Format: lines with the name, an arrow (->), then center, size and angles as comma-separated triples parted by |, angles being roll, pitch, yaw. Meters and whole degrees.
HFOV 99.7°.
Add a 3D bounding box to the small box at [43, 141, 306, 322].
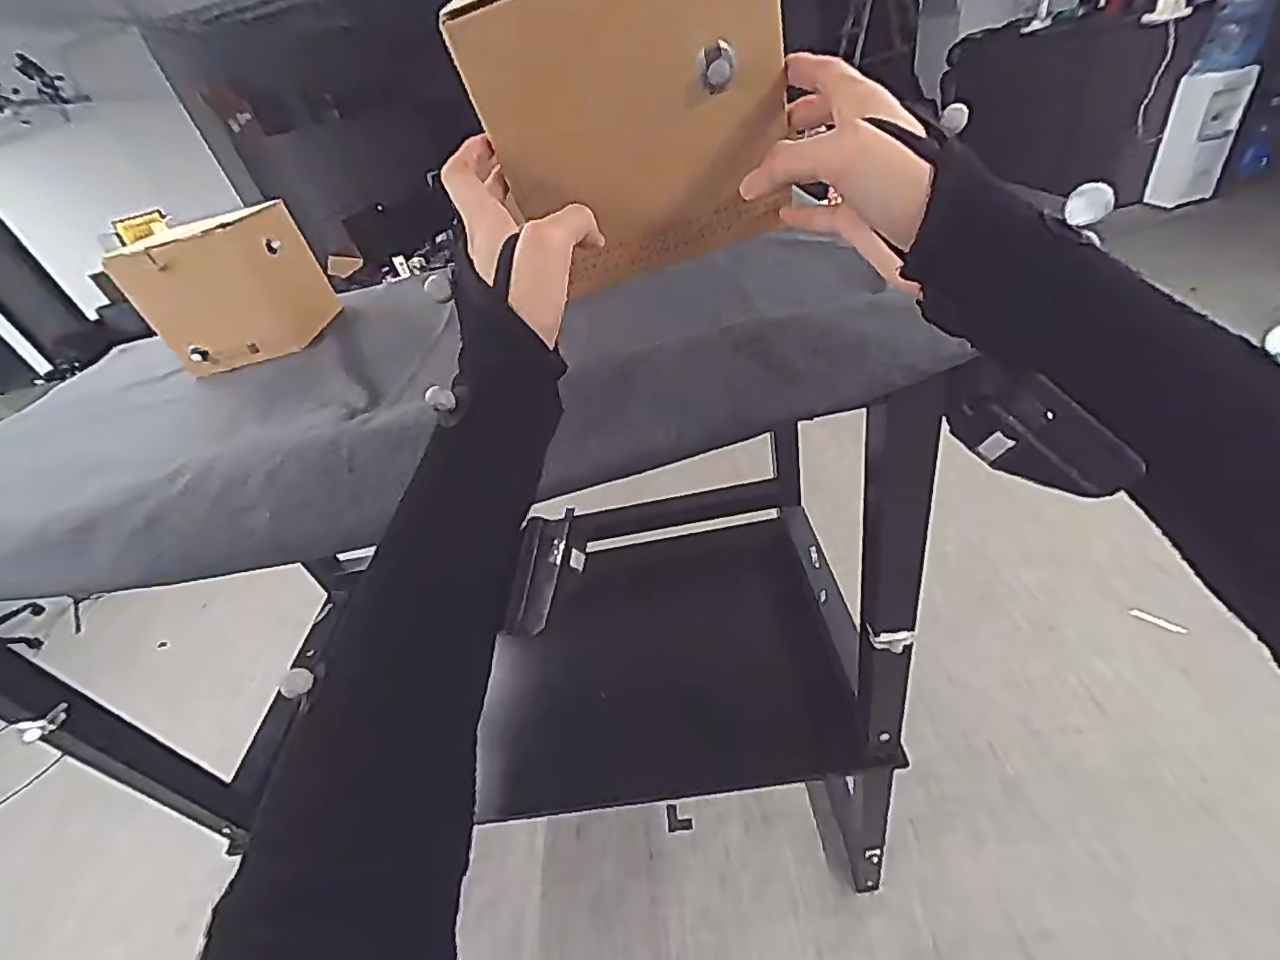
small box -> -0.592, -0.327, 0.724 | 0.168, 0.176, 0.179 | -13, 38, 2
